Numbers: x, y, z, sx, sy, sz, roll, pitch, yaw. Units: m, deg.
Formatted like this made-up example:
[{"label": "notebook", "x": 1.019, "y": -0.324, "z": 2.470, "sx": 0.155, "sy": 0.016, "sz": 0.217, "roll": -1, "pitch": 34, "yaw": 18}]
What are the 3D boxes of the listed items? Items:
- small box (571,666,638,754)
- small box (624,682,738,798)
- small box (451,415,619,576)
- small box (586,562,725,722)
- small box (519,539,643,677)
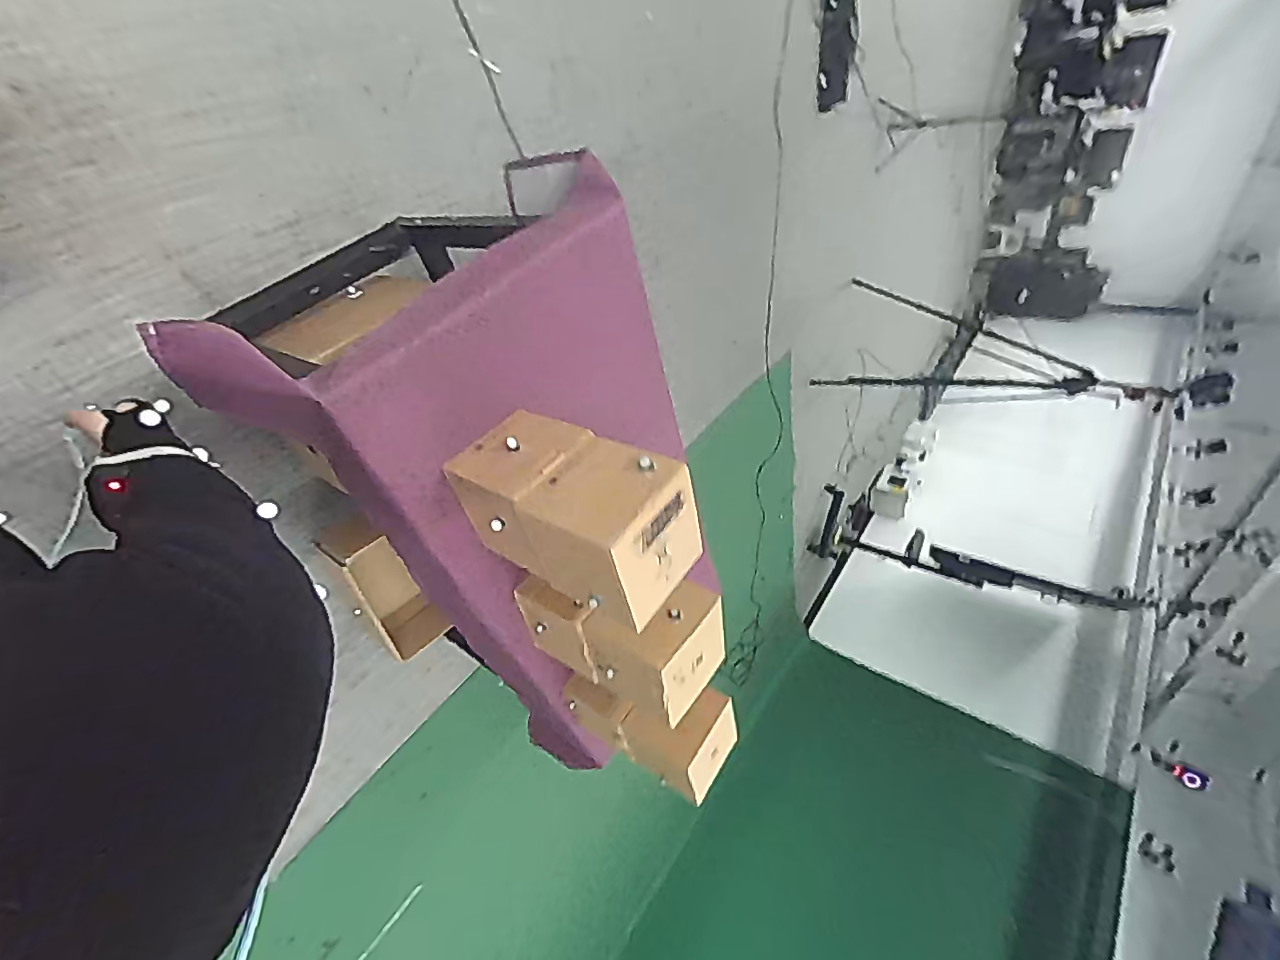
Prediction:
[{"label": "small box", "x": -0.039, "y": 0.478, "z": 1.240, "sx": 0.179, "sy": 0.176, "sz": 0.168, "roll": -46, "pitch": 138, "yaw": -32}, {"label": "small box", "x": 0.090, "y": 0.524, "z": 1.151, "sx": 0.168, "sy": 0.176, "sz": 0.179, "roll": -45, "pitch": 137, "yaw": -33}, {"label": "small box", "x": -0.163, "y": 0.014, "z": 0.849, "sx": 0.168, "sy": 0.176, "sz": 0.179, "roll": -45, "pitch": 137, "yaw": -31}, {"label": "small box", "x": 0.031, "y": 0.274, "z": 0.953, "sx": 0.179, "sy": 0.176, "sz": 0.168, "roll": -40, "pitch": 135, "yaw": -35}, {"label": "small box", "x": -0.100, "y": 0.232, "z": 1.043, "sx": 0.179, "sy": 0.176, "sz": 0.168, "roll": -41, "pitch": 135, "yaw": -34}]
